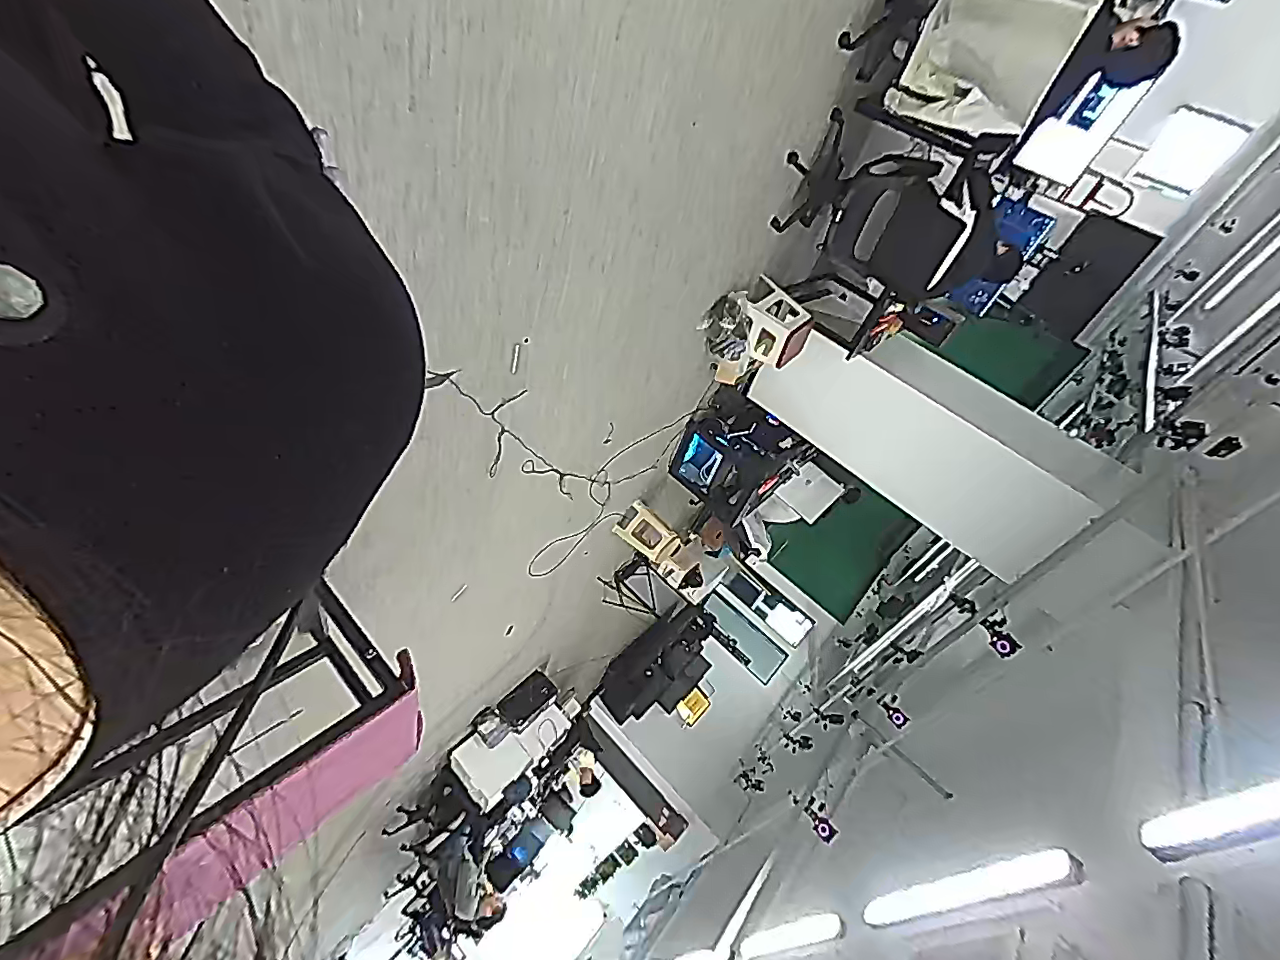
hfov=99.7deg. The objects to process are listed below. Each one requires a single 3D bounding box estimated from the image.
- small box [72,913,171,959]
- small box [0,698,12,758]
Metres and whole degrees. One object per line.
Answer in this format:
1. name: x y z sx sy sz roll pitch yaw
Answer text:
1. small box: -1.327 1.260 1.370 0.179 0.176 0.168 -30 153 -44
2. small box: -1.812 0.659 1.421 0.179 0.176 0.168 -19 143 -57
